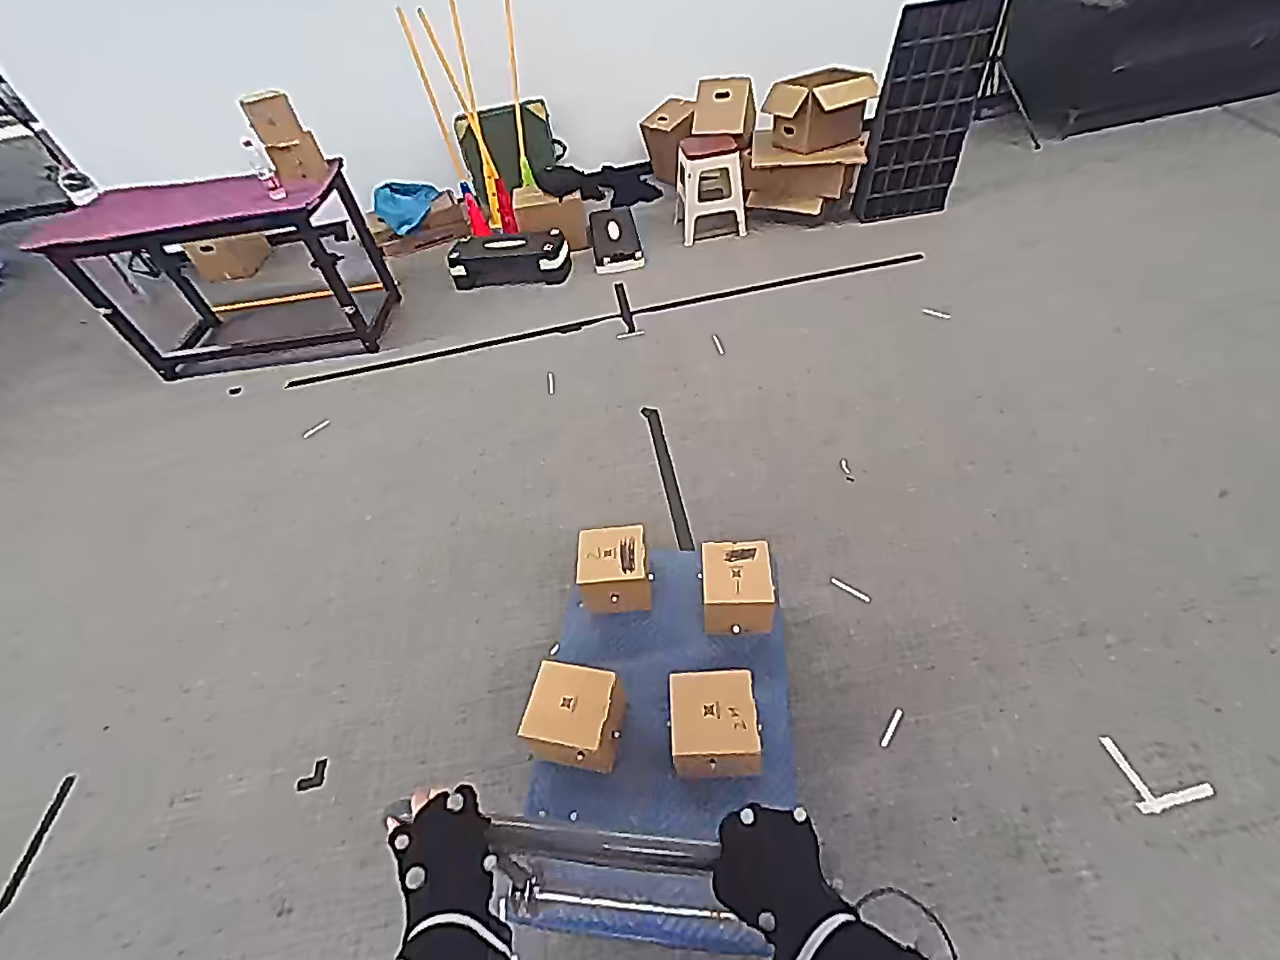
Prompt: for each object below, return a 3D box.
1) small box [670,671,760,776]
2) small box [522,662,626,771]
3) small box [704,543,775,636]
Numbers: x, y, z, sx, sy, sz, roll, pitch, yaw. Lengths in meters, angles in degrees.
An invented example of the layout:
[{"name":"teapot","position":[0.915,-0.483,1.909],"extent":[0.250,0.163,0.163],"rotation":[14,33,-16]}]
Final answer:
[{"name":"small box","position":[0.160,0.531,1.171],"extent":[0.179,0.176,0.168],"rotation":[-4,48,5]},{"name":"small box","position":[-0.140,0.533,1.217],"extent":[0.179,0.176,0.168],"rotation":[5,49,12]},{"name":"small box","position":[0.247,0.281,1.384],"extent":[0.168,0.176,0.179],"rotation":[-2,49,7]}]
